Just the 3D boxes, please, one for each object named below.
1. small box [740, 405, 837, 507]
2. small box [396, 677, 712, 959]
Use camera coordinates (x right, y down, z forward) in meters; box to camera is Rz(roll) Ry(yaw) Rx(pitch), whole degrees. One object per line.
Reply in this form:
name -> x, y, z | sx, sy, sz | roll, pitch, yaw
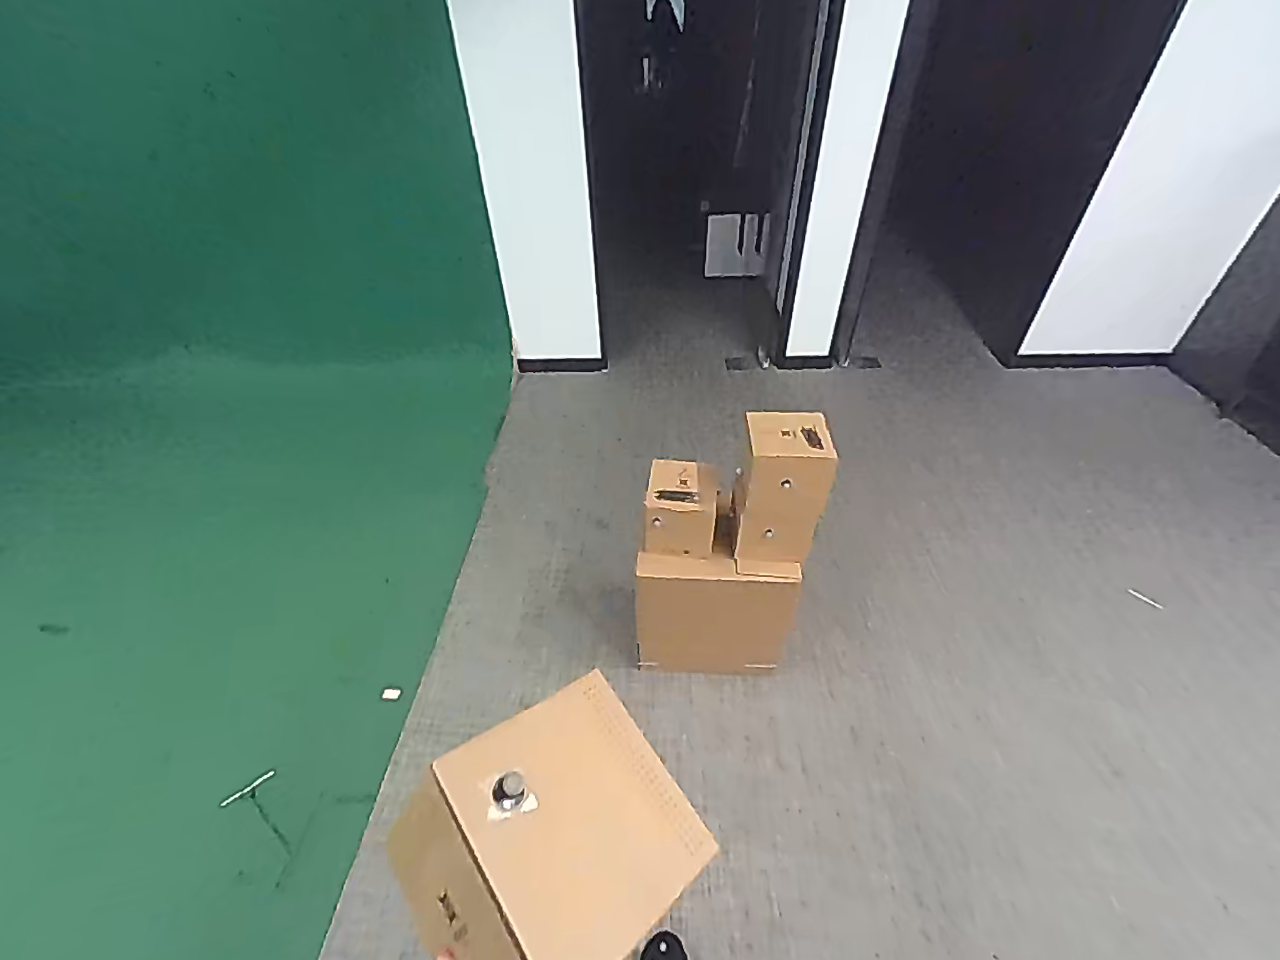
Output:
small box -> 0.327, -0.053, 1.225 | 0.179, 0.176, 0.168 | 1, 43, 4
small box -> -0.076, 0.295, 0.459 | 0.176, 0.168, 0.179 | -15, 56, -46
